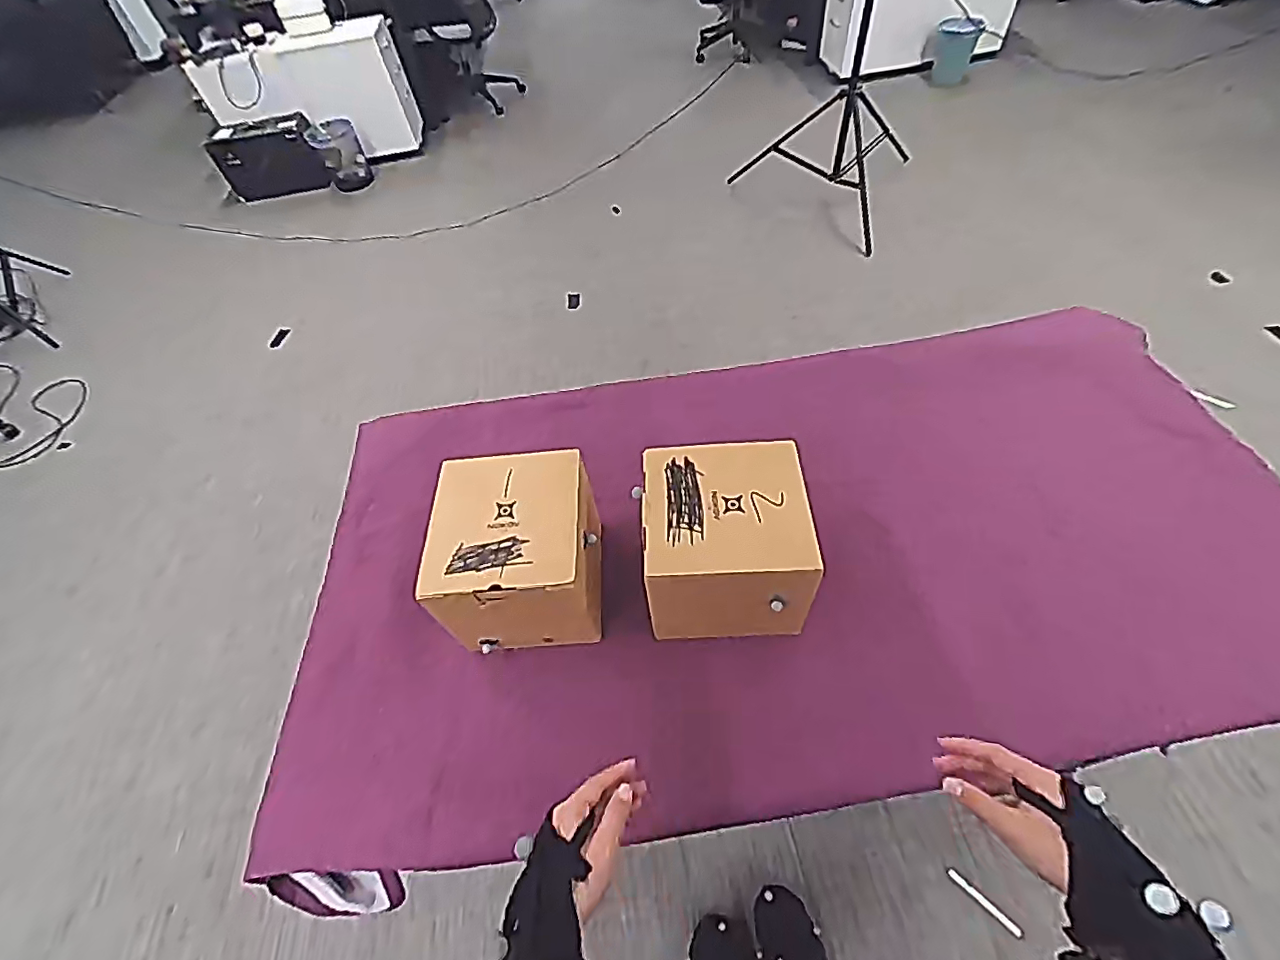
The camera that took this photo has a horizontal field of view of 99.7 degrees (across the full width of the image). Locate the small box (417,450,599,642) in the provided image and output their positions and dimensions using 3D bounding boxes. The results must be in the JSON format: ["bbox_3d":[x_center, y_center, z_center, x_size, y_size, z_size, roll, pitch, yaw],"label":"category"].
[{"bbox_3d":[-0.142,0.087,0.655,0.168,0.176,0.179,-5,53,2],"label":"small box"}]
